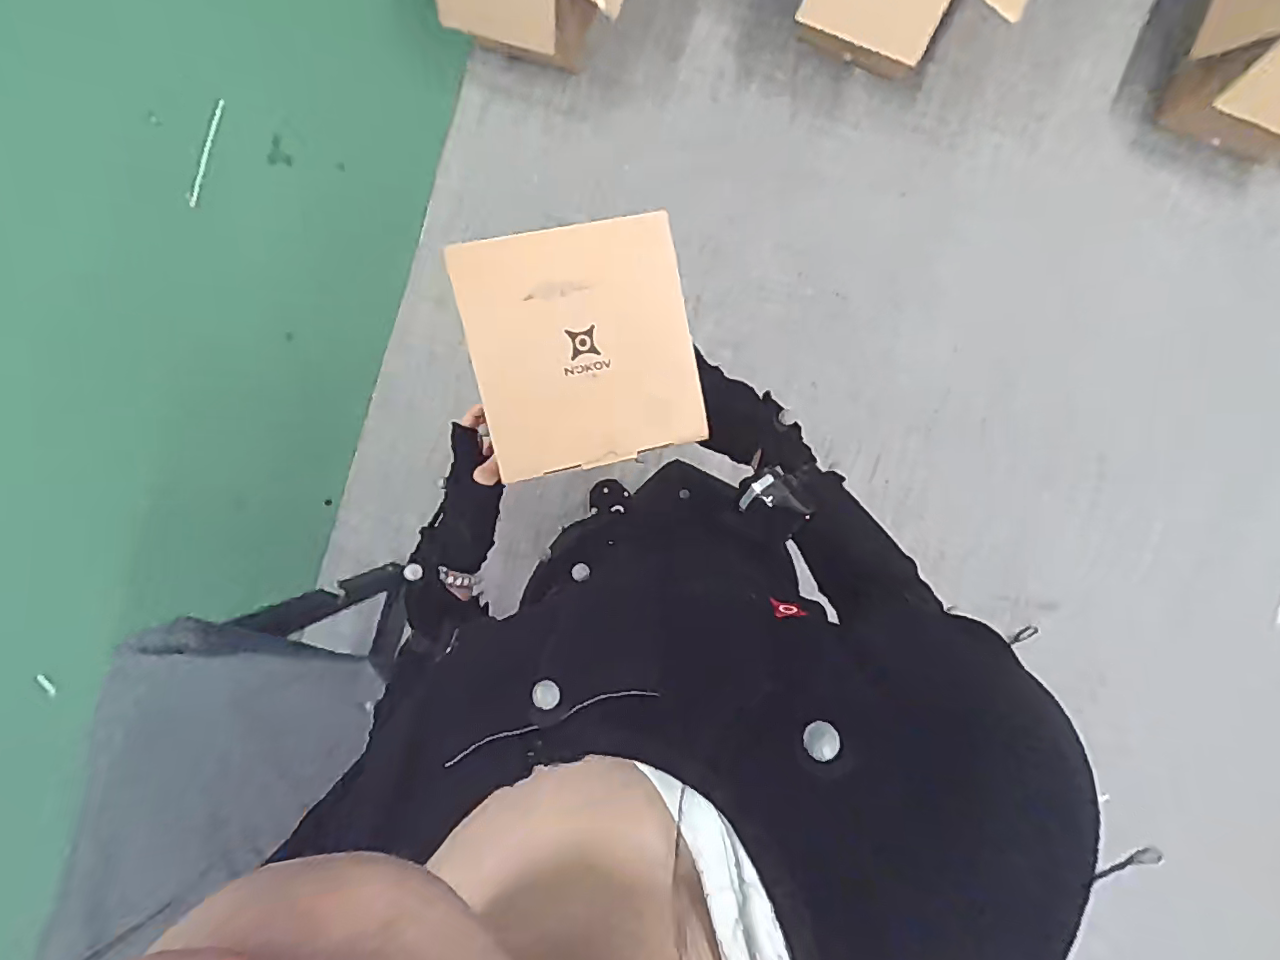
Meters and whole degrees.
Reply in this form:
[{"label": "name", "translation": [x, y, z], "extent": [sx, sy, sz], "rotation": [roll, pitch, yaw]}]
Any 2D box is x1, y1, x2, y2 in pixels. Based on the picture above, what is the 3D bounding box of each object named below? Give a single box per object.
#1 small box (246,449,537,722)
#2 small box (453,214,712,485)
[{"label": "small box", "translation": [-0.226, 0.096, 0.536], "extent": [0.176, 0.168, 0.179], "rotation": [43, 76, 4]}, {"label": "small box", "translation": [-0.050, -0.106, 0.476], "extent": [0.168, 0.176, 0.179], "rotation": [-13, 99, -9]}]
